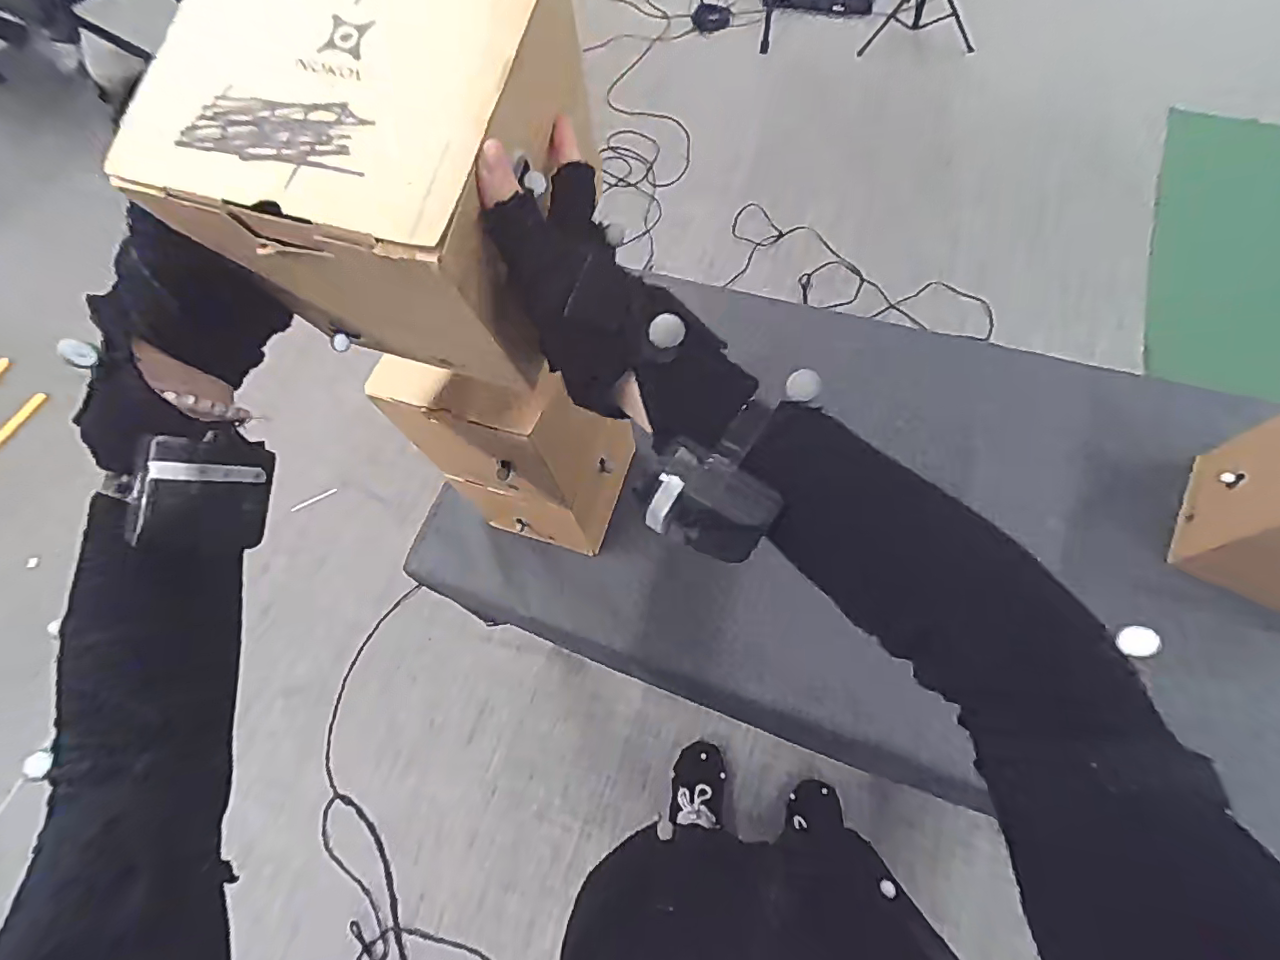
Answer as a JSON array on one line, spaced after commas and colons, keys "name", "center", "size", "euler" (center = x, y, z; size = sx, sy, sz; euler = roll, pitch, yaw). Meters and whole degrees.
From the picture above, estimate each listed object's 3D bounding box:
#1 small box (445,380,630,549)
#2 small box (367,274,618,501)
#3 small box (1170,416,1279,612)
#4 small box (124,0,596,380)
[{"name": "small box", "center": [-0.116, -0.031, 0.707], "size": [0.168, 0.176, 0.179], "euler": [15, 68, 12]}, {"name": "small box", "center": [-0.130, -0.098, 0.559], "size": [0.168, 0.176, 0.179], "euler": [17, 68, 11]}, {"name": "small box", "center": [0.744, 0.041, 0.584], "size": [0.179, 0.176, 0.168], "euler": [29, 72, 17]}, {"name": "small box", "center": [-0.133, -0.183, 0.333], "size": [0.168, 0.176, 0.179], "euler": [16, 80, 5]}]
